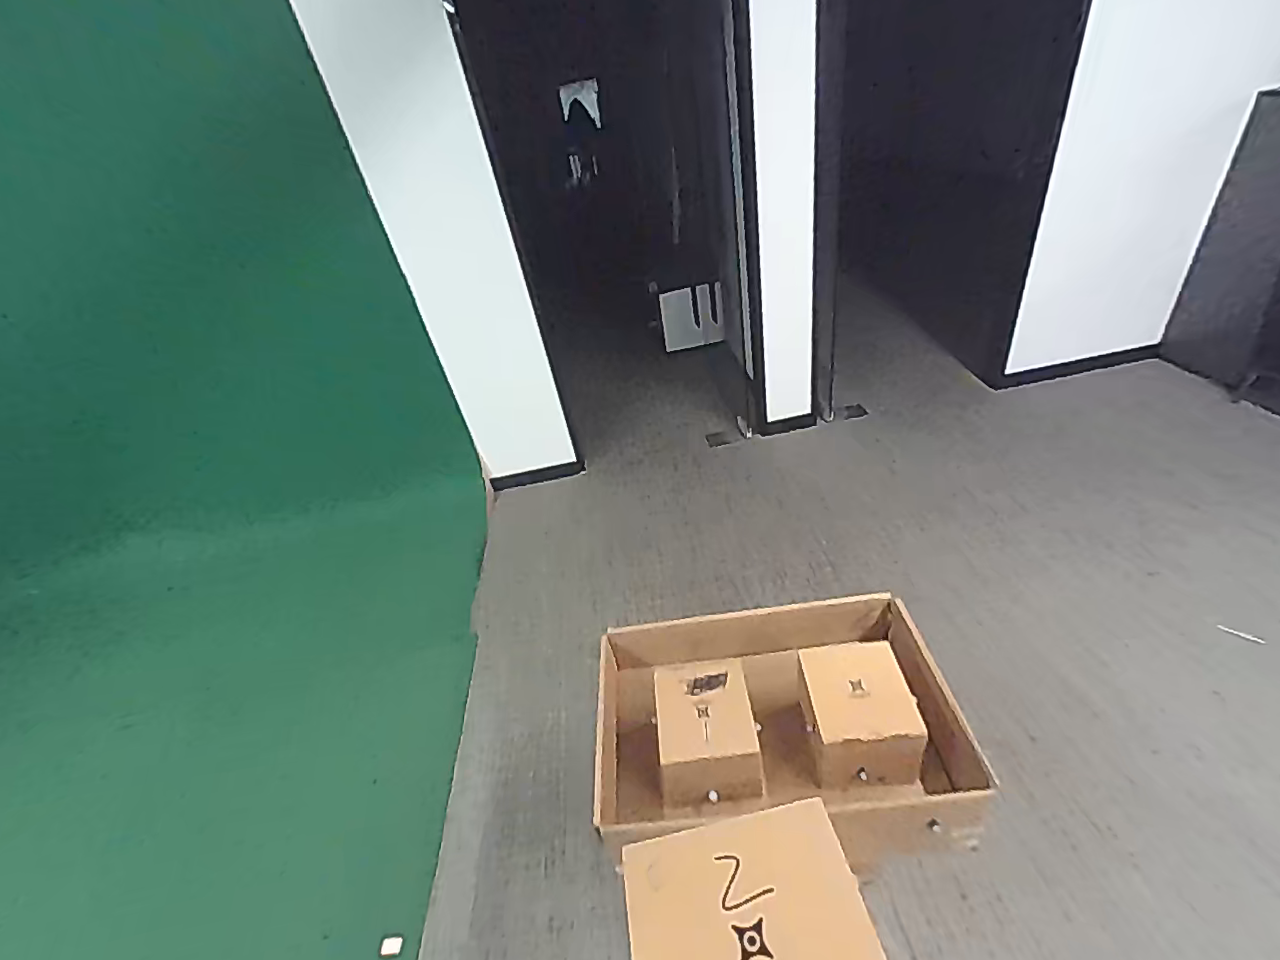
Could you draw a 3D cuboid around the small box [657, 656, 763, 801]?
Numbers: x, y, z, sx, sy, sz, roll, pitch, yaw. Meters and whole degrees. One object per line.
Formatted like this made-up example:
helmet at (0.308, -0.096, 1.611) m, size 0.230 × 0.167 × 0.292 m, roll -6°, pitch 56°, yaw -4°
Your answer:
small box at (0.126, 0.454, 0.991) m, size 0.168 × 0.176 × 0.179 m, roll -10°, pitch 37°, yaw 4°
